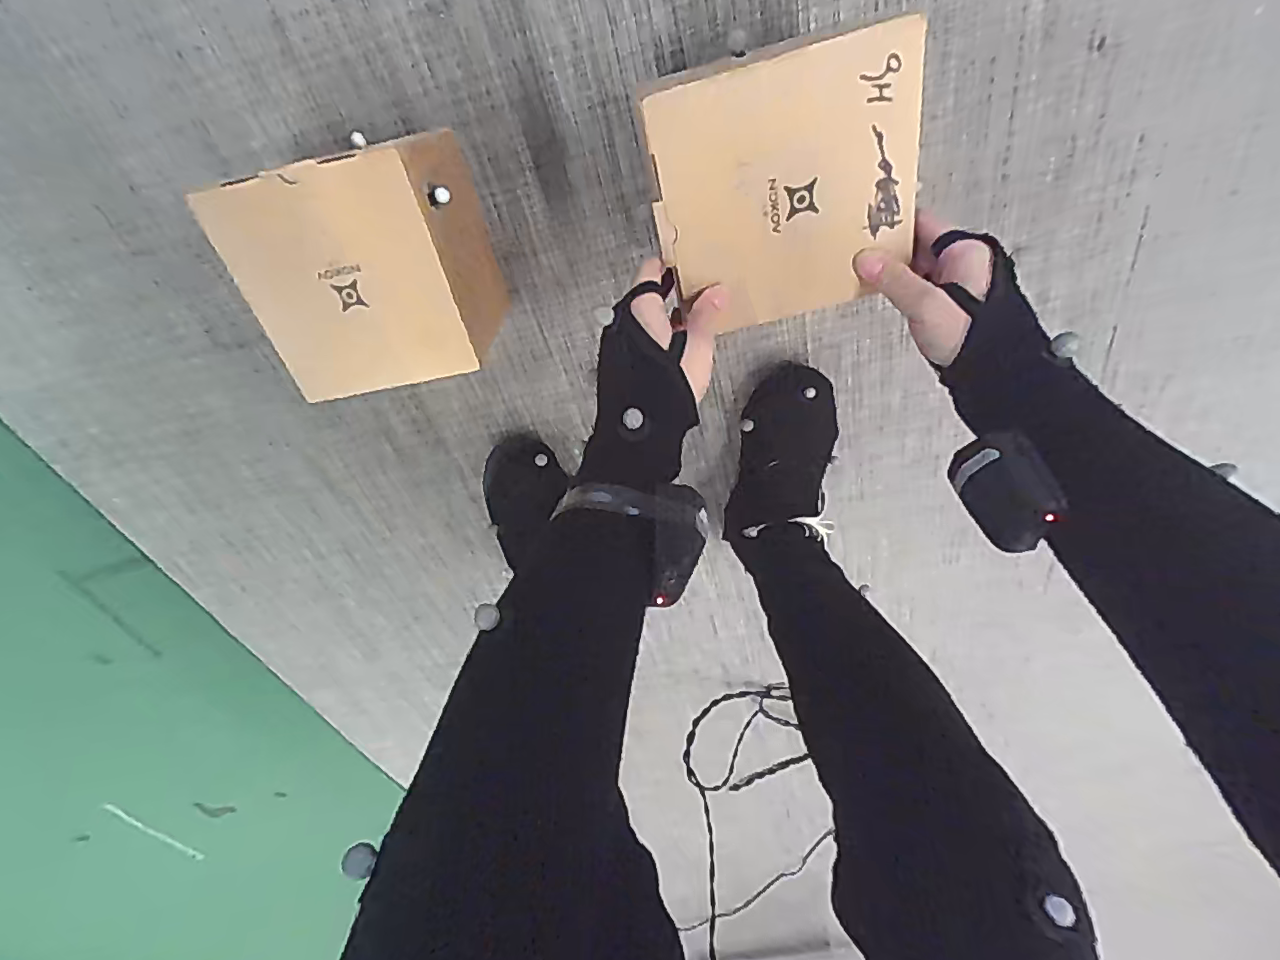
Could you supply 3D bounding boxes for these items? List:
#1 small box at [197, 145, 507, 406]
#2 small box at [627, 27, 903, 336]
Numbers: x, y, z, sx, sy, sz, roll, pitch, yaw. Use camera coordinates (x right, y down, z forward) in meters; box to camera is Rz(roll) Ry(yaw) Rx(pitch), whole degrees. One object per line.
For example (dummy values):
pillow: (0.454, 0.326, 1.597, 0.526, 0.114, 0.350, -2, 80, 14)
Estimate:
small box: (-0.238, -0.196, 0.509, 0.168, 0.176, 0.179, -10, 124, 5)
small box: (0.091, -0.244, 0.449, 0.179, 0.176, 0.168, -13, 127, 6)
